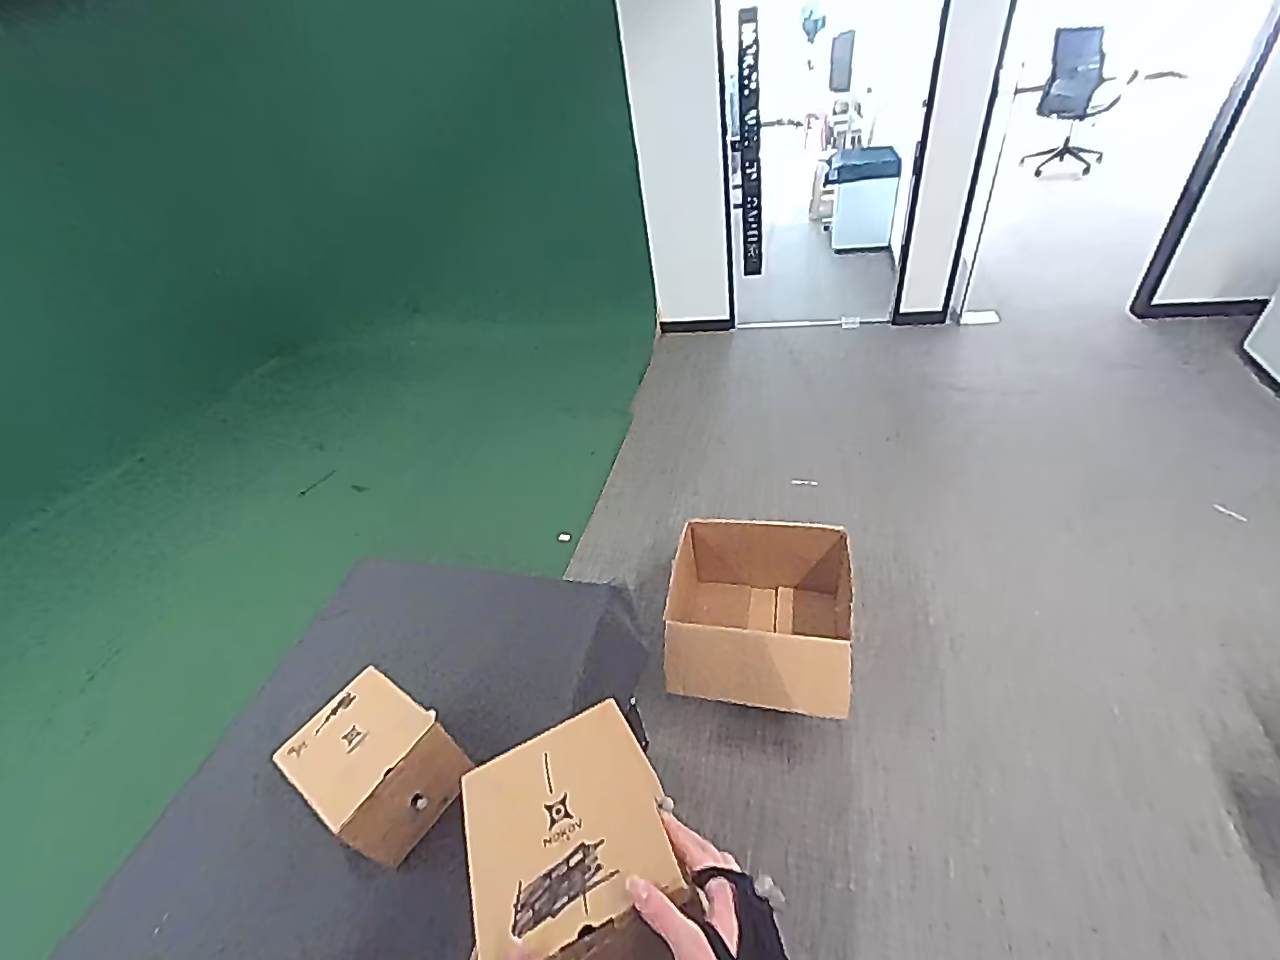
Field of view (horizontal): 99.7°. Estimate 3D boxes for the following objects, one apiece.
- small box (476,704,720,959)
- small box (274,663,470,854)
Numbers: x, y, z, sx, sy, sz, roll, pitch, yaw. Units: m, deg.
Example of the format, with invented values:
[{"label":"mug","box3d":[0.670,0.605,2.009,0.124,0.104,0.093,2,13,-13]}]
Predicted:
[{"label":"small box","box3d":[-0.039,0.364,0.521,0.168,0.176,0.179,-23,35,-9]},{"label":"small box","box3d":[-0.386,0.417,0.805,0.179,0.176,0.168,21,49,31]}]
